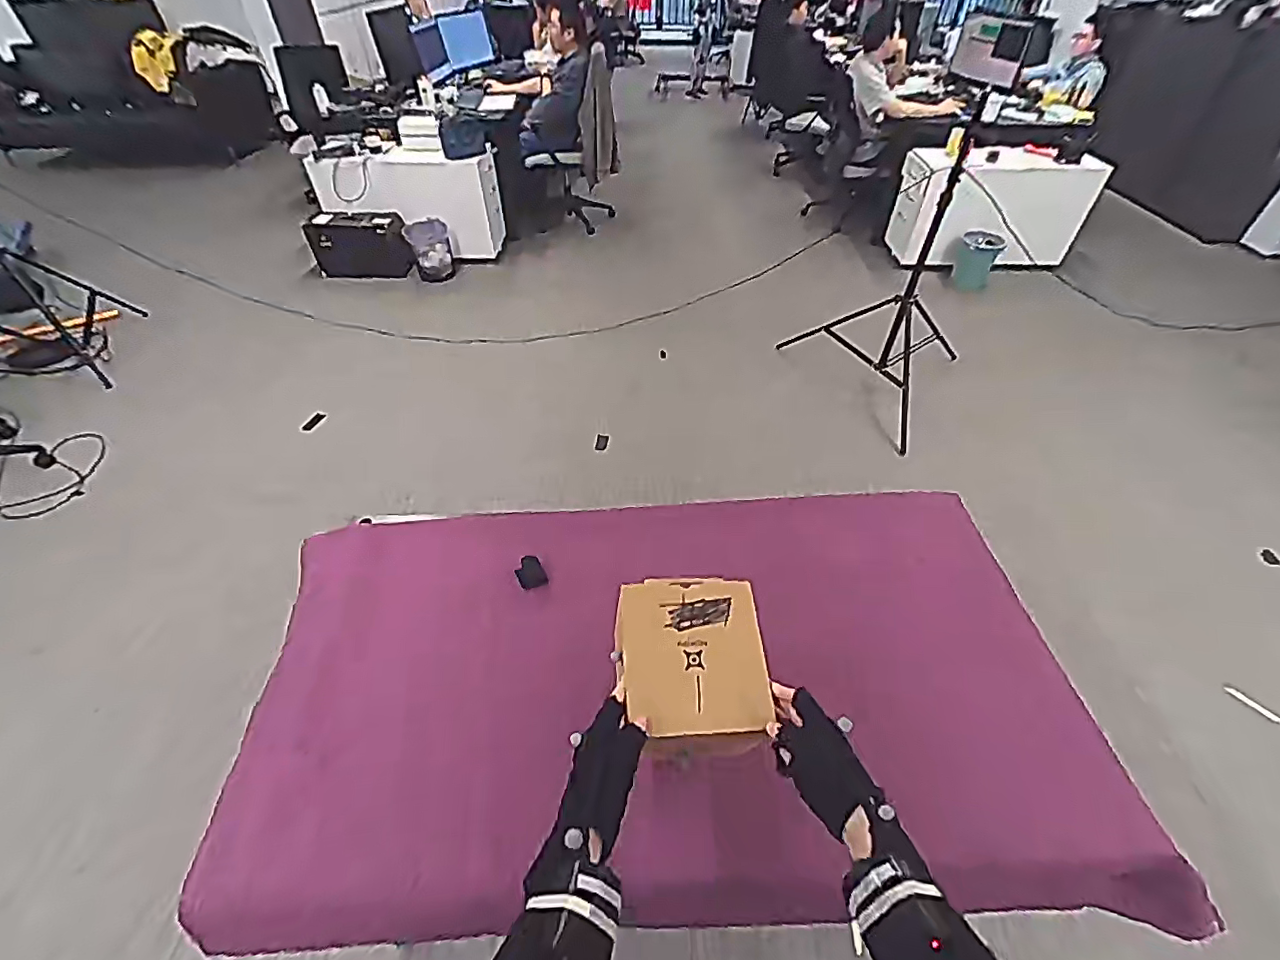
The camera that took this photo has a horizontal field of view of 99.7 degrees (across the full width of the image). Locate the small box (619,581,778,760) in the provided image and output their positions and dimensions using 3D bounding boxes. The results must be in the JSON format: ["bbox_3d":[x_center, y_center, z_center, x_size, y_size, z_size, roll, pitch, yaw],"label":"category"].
[{"bbox_3d":[0.060,0.246,0.696,0.168,0.176,0.179,-1,54,-5],"label":"small box"}]
